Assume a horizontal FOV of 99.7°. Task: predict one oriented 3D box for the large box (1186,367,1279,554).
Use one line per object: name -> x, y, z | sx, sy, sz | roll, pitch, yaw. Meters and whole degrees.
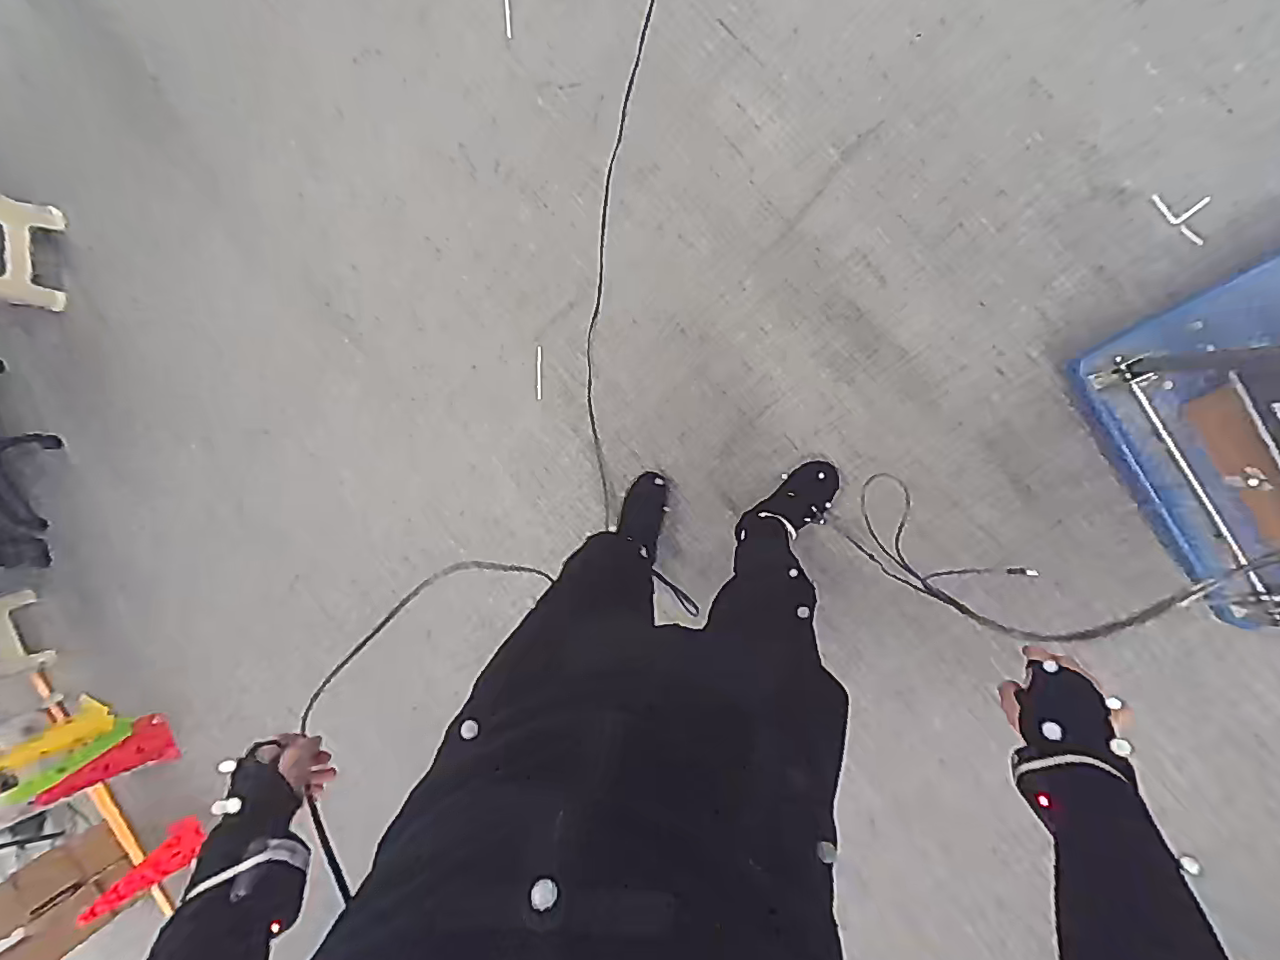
large box -> 1.139, -0.069, 0.736 | 0.408, 0.320, 0.320 | -32, 88, 18
